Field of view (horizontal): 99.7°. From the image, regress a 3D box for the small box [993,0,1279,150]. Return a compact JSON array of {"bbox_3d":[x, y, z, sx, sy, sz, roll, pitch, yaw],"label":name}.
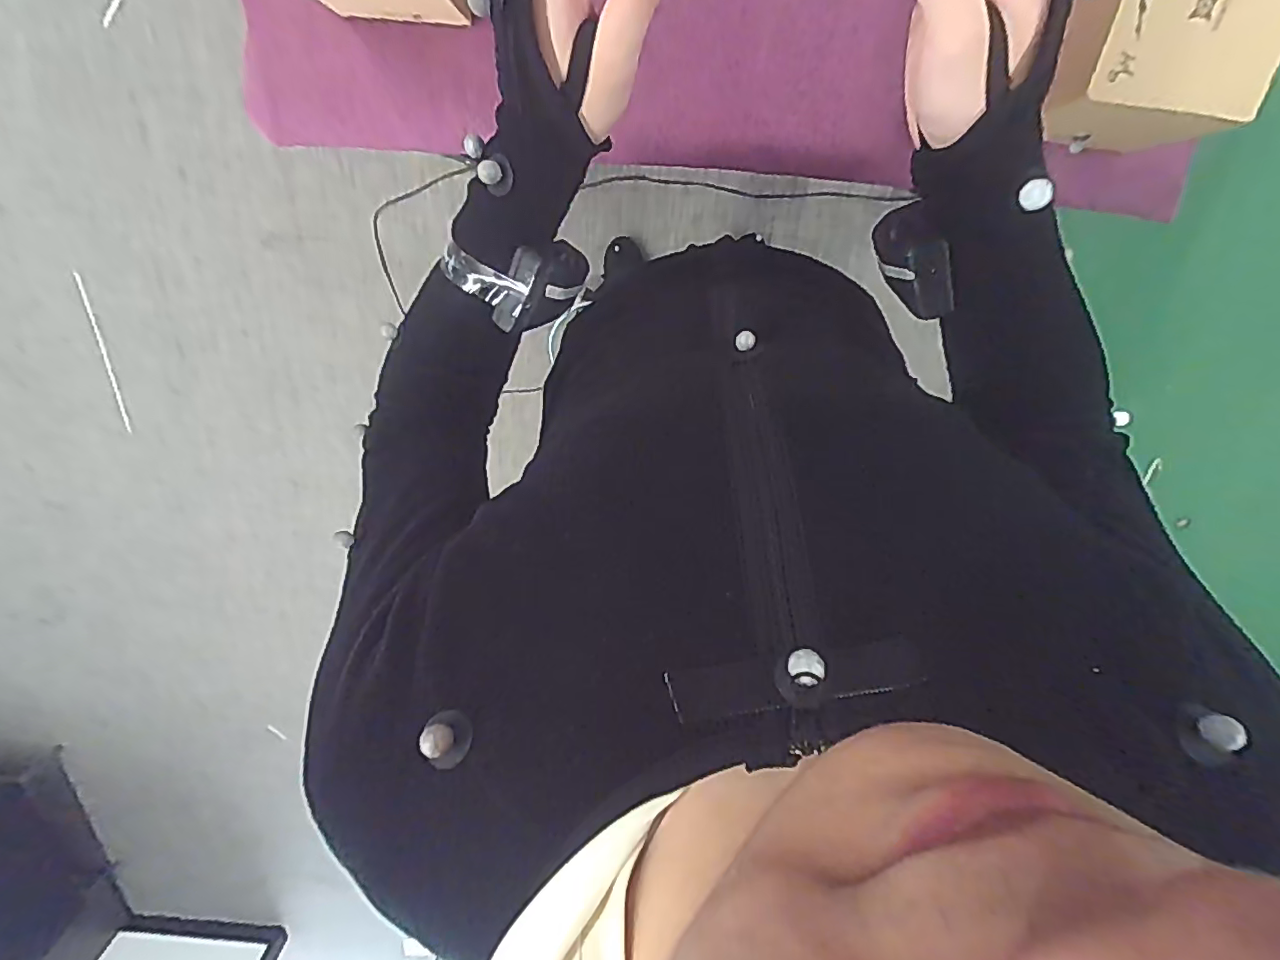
[{"bbox_3d":[0.541,-0.476,0.590,0.179,0.176,0.168,8,112,-1],"label":"small box"}]
